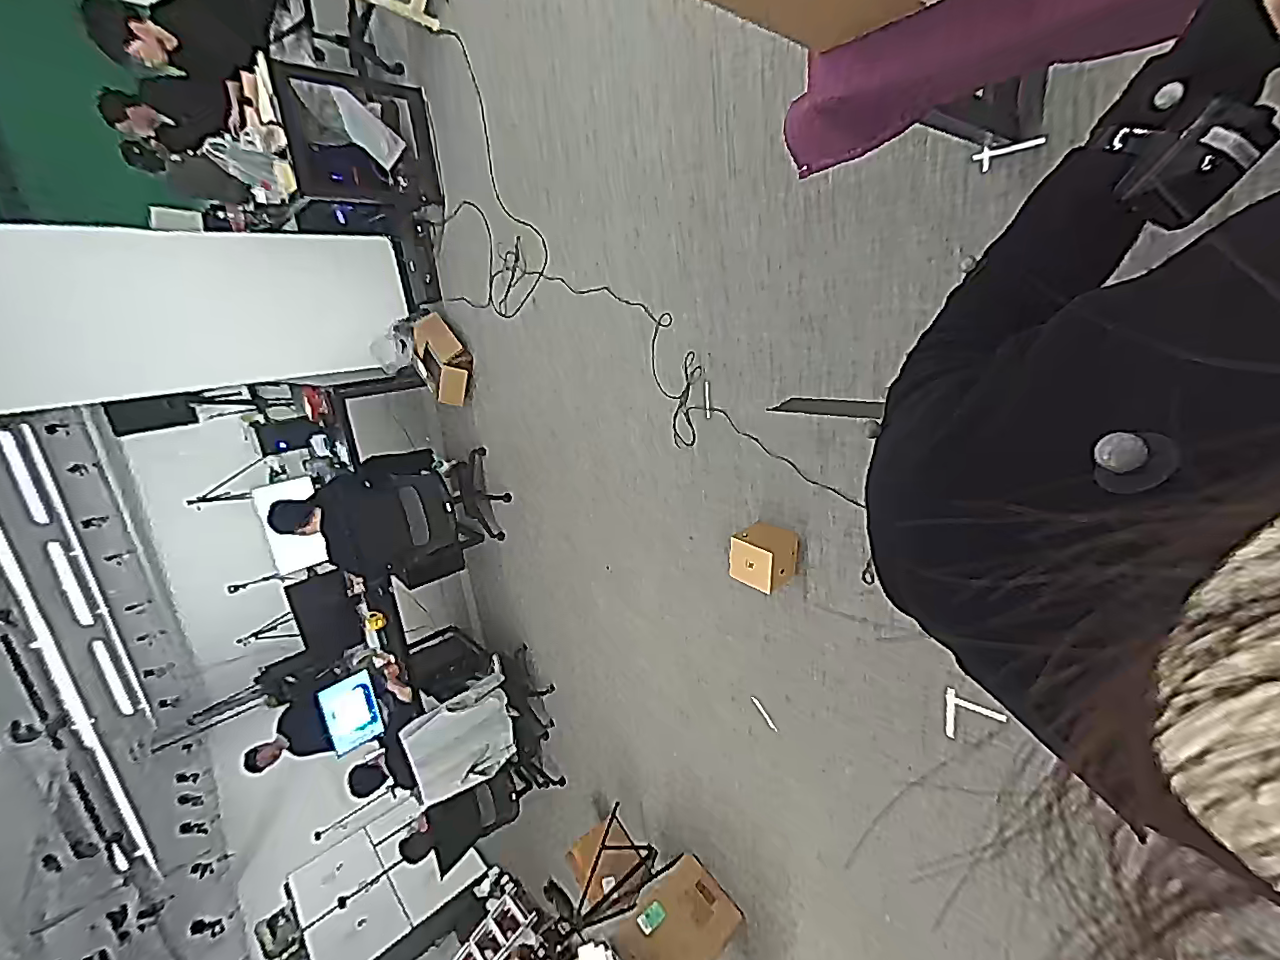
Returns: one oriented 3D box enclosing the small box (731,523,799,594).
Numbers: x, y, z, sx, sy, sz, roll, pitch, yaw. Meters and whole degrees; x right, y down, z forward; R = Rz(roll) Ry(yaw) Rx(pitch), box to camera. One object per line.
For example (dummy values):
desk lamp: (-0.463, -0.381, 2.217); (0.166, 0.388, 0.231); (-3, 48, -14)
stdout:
small box: (0.444, 0.269, 1.911); (0.179, 0.176, 0.168); (21, 122, 44)
